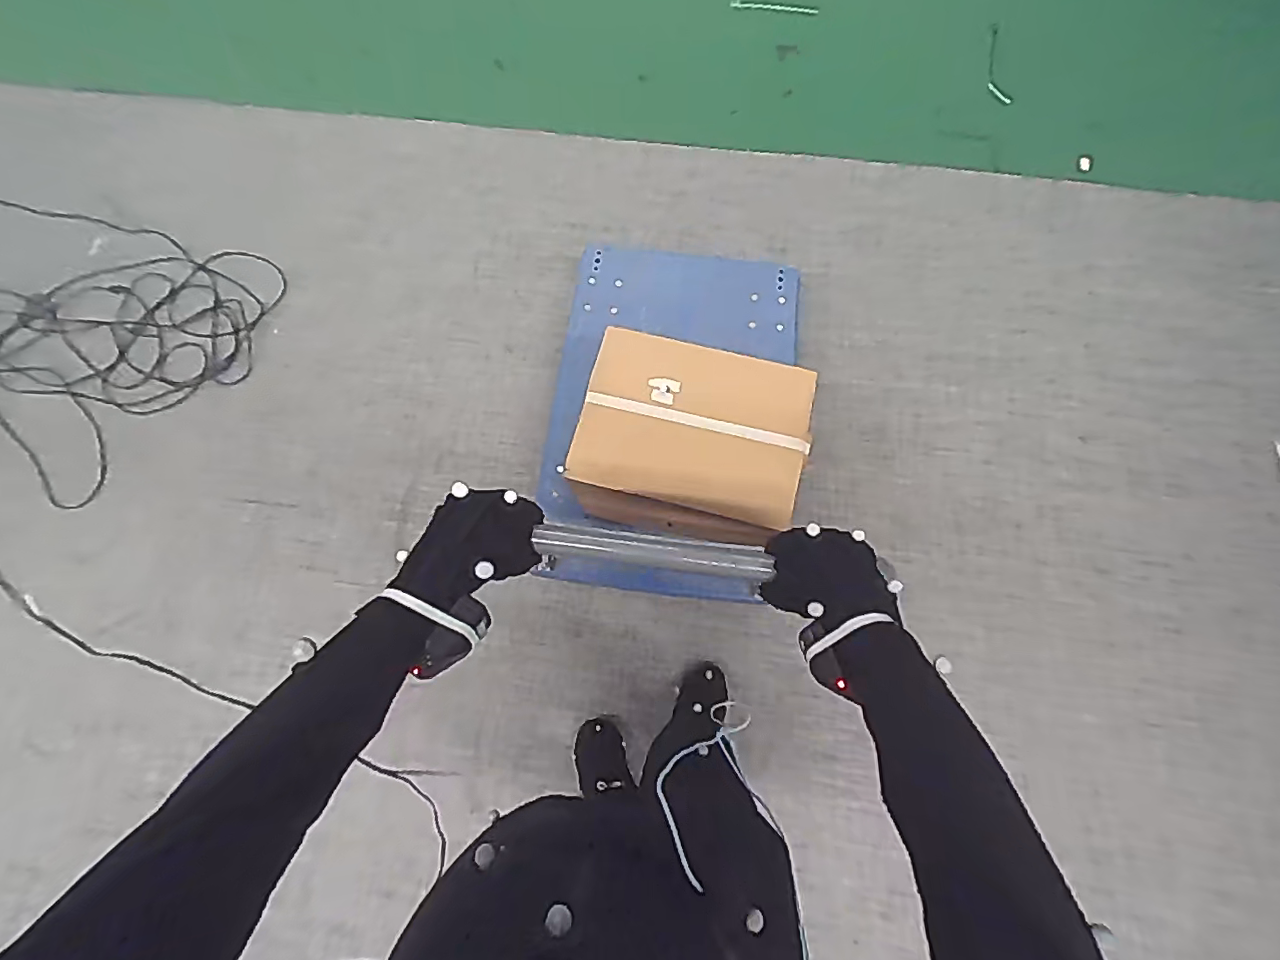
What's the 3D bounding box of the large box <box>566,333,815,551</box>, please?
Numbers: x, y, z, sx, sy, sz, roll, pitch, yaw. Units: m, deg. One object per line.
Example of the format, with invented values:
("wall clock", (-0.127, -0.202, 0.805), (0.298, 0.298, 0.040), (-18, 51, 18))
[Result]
("large box", (0.103, -0.059, 1.111), (0.408, 0.320, 0.320), (13, 74, 6))
